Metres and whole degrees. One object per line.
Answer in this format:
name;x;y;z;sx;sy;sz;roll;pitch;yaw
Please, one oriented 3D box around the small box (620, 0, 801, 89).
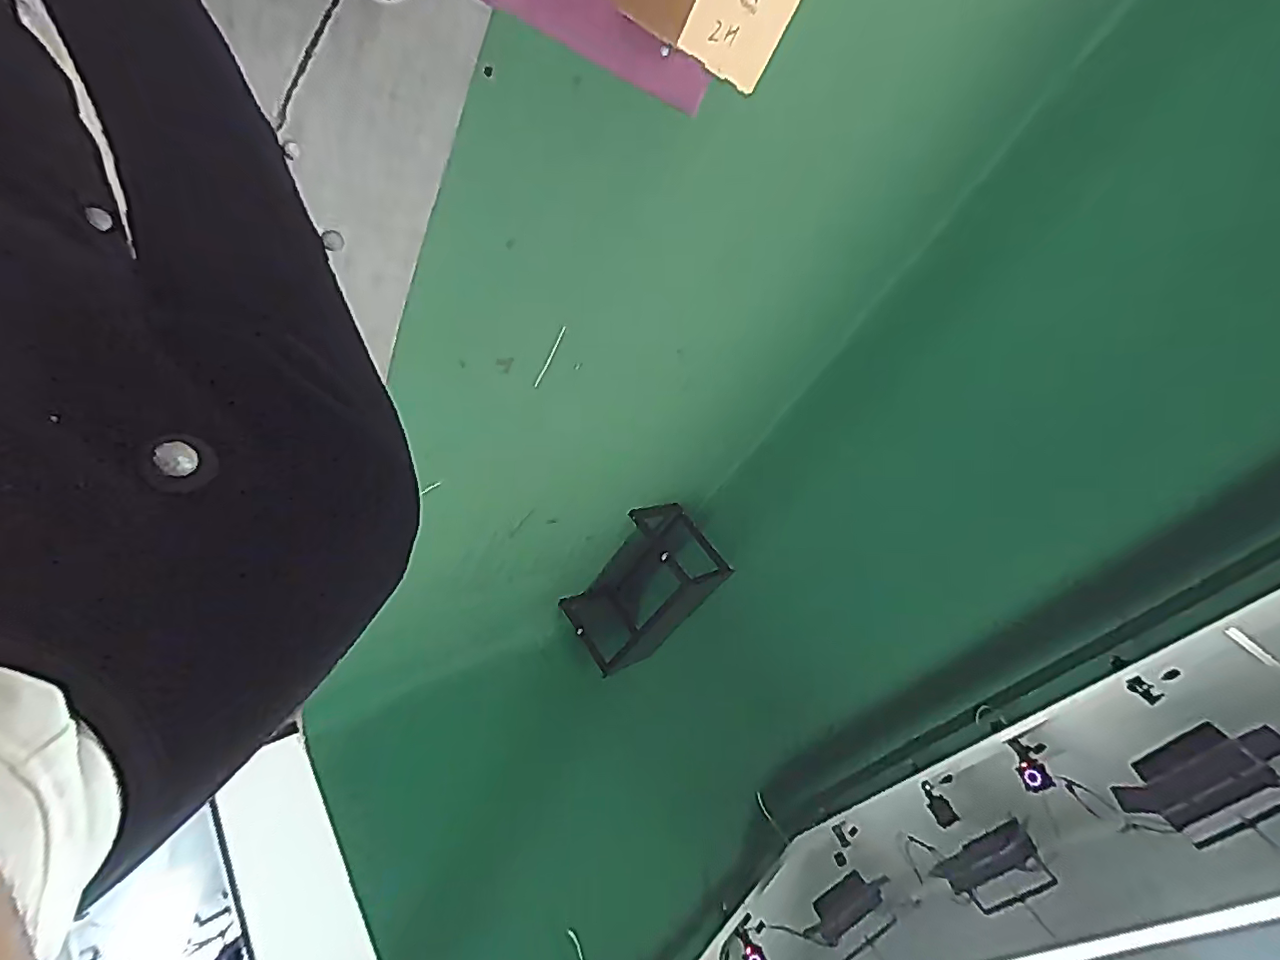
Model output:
small box;0.099;-0.663;0.696;0.168;0.176;0.179;-9;143;-44
